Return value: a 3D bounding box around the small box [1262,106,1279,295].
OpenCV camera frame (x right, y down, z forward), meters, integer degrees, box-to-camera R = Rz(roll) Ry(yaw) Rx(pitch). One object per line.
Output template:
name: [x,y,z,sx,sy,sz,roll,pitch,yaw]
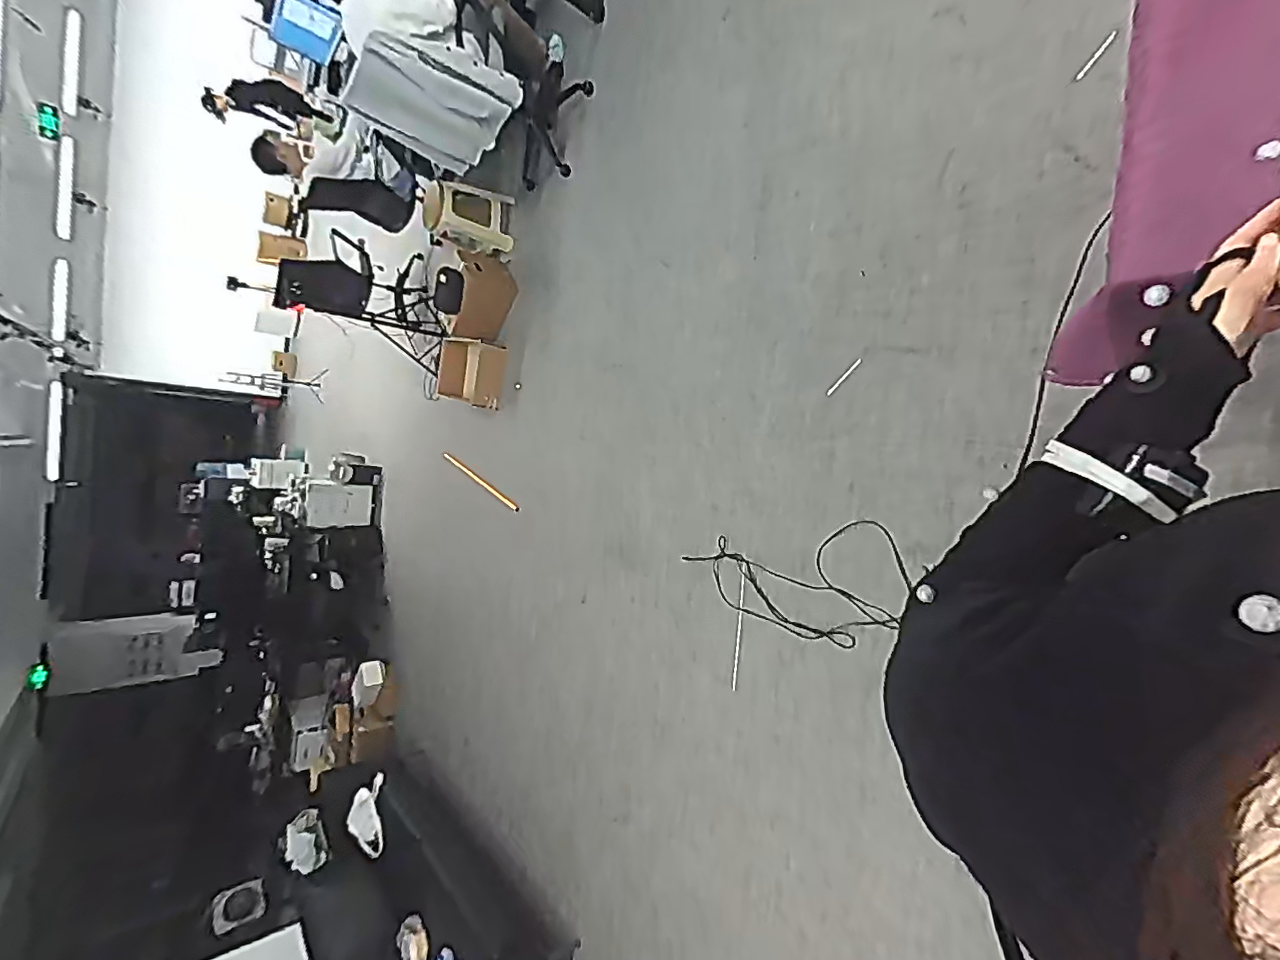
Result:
small box: [0.475,-0.205,0.289,0.179,0.176,0.168,7,97,48]
